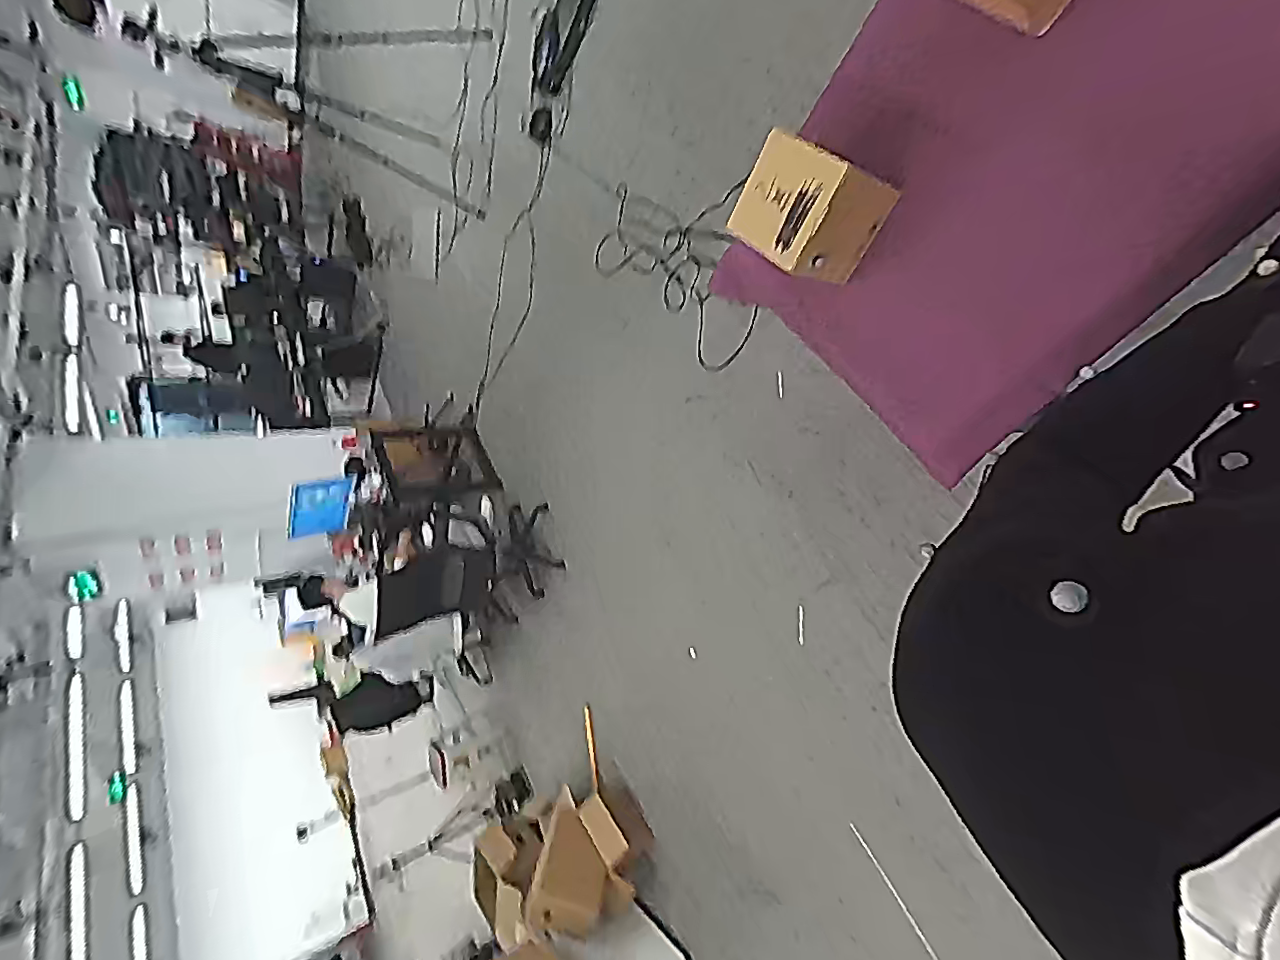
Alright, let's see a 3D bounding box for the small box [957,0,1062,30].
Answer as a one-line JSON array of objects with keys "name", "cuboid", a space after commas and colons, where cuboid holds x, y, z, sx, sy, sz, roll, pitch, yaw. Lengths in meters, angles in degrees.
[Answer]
[{"name": "small box", "cuboid": [0.470, -0.712, 0.673, 0.179, 0.176, 0.168, 56, 134, 26]}]
